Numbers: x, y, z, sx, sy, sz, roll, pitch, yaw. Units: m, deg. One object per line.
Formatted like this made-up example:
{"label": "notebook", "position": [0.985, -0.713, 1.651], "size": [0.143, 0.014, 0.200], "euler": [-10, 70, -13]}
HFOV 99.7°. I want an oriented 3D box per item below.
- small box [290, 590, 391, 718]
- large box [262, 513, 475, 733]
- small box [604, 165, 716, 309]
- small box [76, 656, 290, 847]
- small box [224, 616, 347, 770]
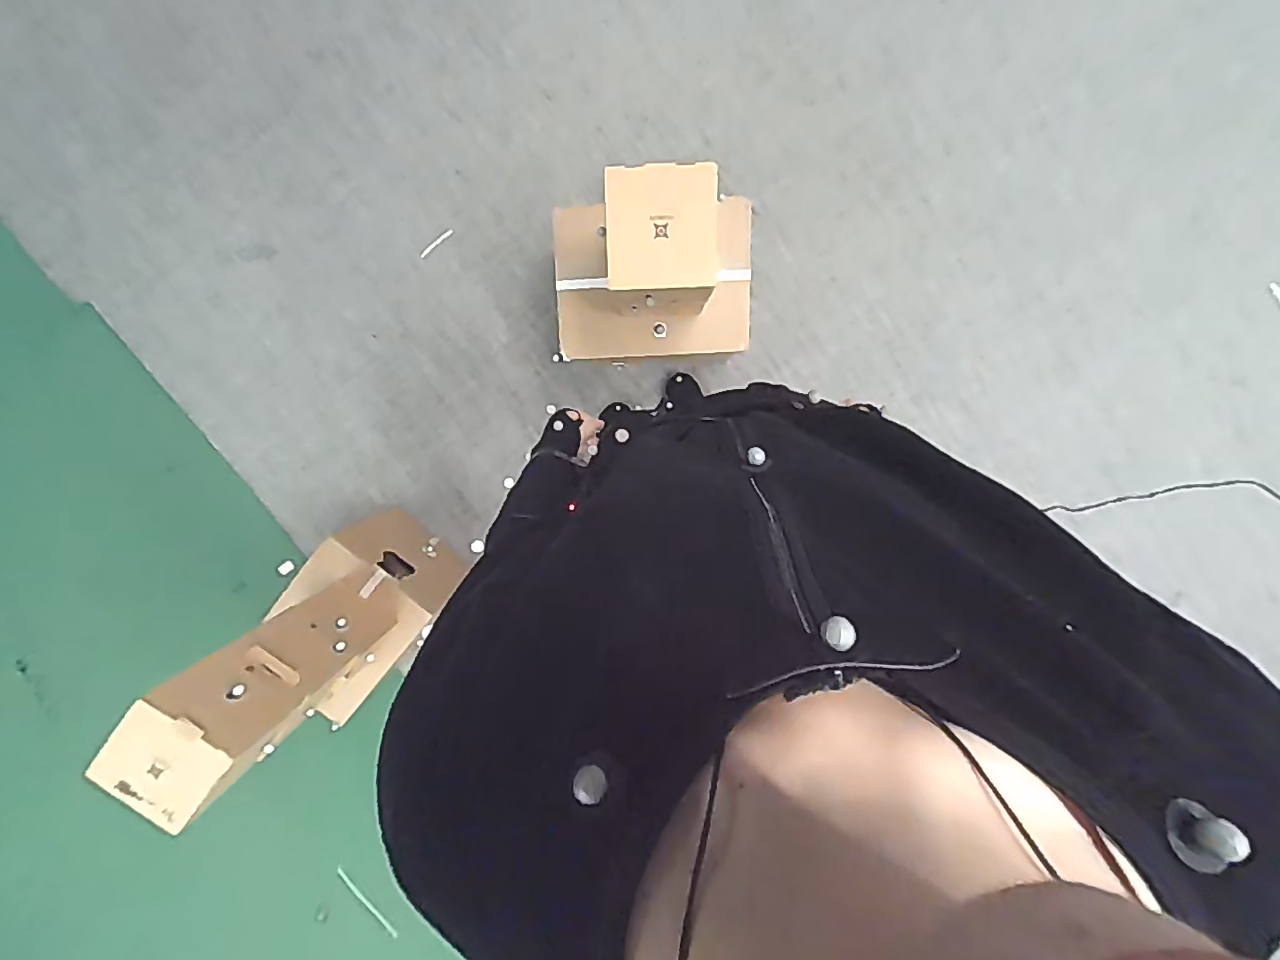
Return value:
{"label": "small box", "position": [-0.692, 0.372, 1.192], "size": [0.179, 0.176, 0.168], "euler": [40, 98, -4]}
{"label": "large box", "position": [-0.718, 0.356, 1.438], "size": [0.320, 0.320, 0.408], "euler": [40, 100, -3]}
{"label": "small box", "position": [0.035, -0.376, 0.870], "size": [0.168, 0.176, 0.179], "euler": [-1, 97, 3]}
{"label": "small box", "position": [-0.711, 0.420, 0.868], "size": [0.168, 0.176, 0.179], "euler": [40, 97, -4]}
{"label": "small box", "position": [-0.700, 0.393, 1.030], "size": [0.168, 0.176, 0.179], "euler": [39, 99, -4]}
